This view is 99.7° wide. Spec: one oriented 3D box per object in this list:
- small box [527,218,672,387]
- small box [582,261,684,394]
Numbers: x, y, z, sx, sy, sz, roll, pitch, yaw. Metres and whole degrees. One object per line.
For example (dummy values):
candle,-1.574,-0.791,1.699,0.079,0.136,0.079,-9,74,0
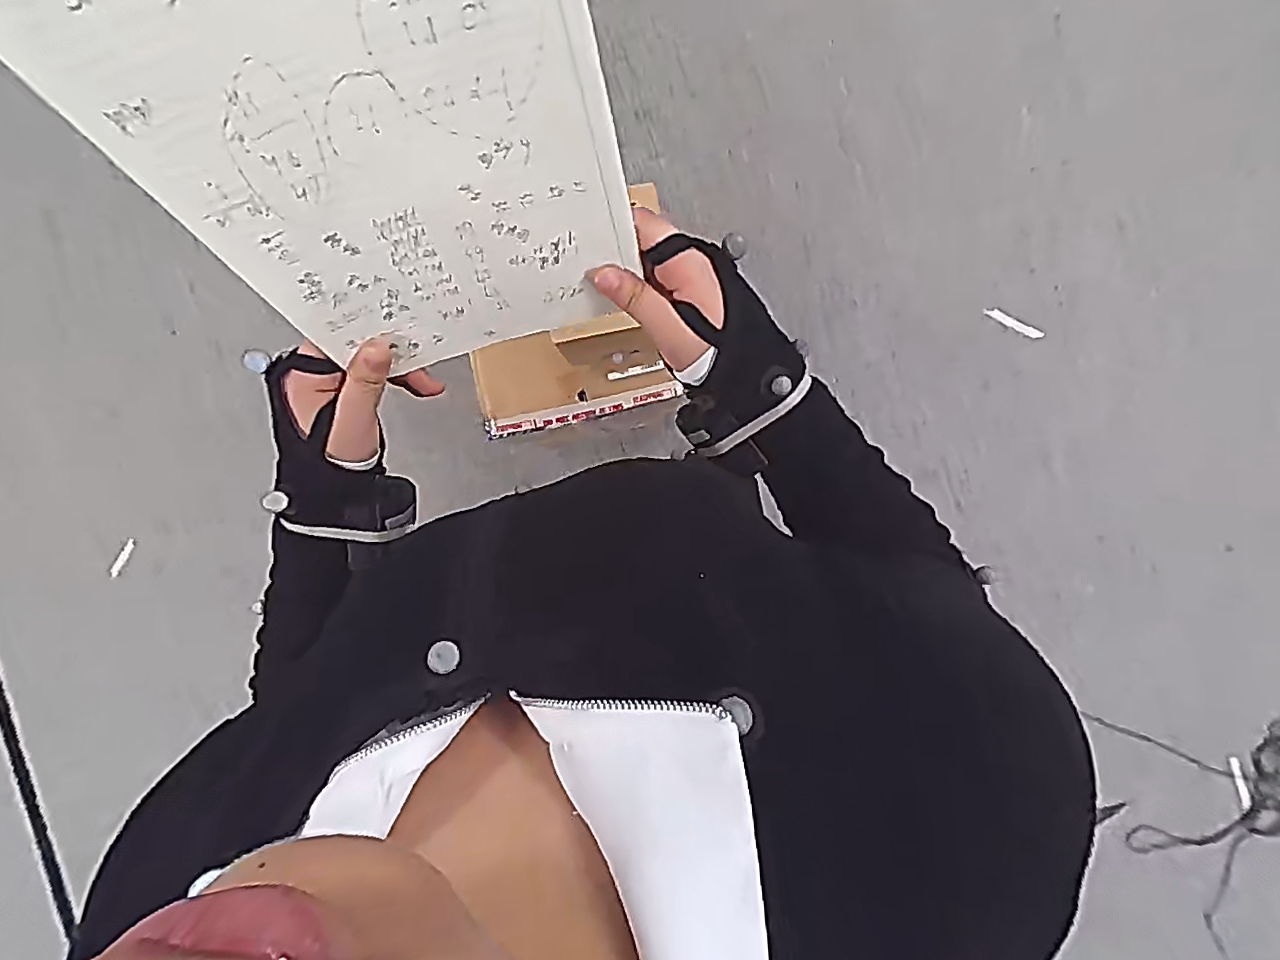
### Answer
small box,-0.053,-0.242,0.775,0.168,0.176,0.179,-10,93,1
small box,-0.031,-0.254,0.939,0.179,0.176,0.168,-14,91,2
